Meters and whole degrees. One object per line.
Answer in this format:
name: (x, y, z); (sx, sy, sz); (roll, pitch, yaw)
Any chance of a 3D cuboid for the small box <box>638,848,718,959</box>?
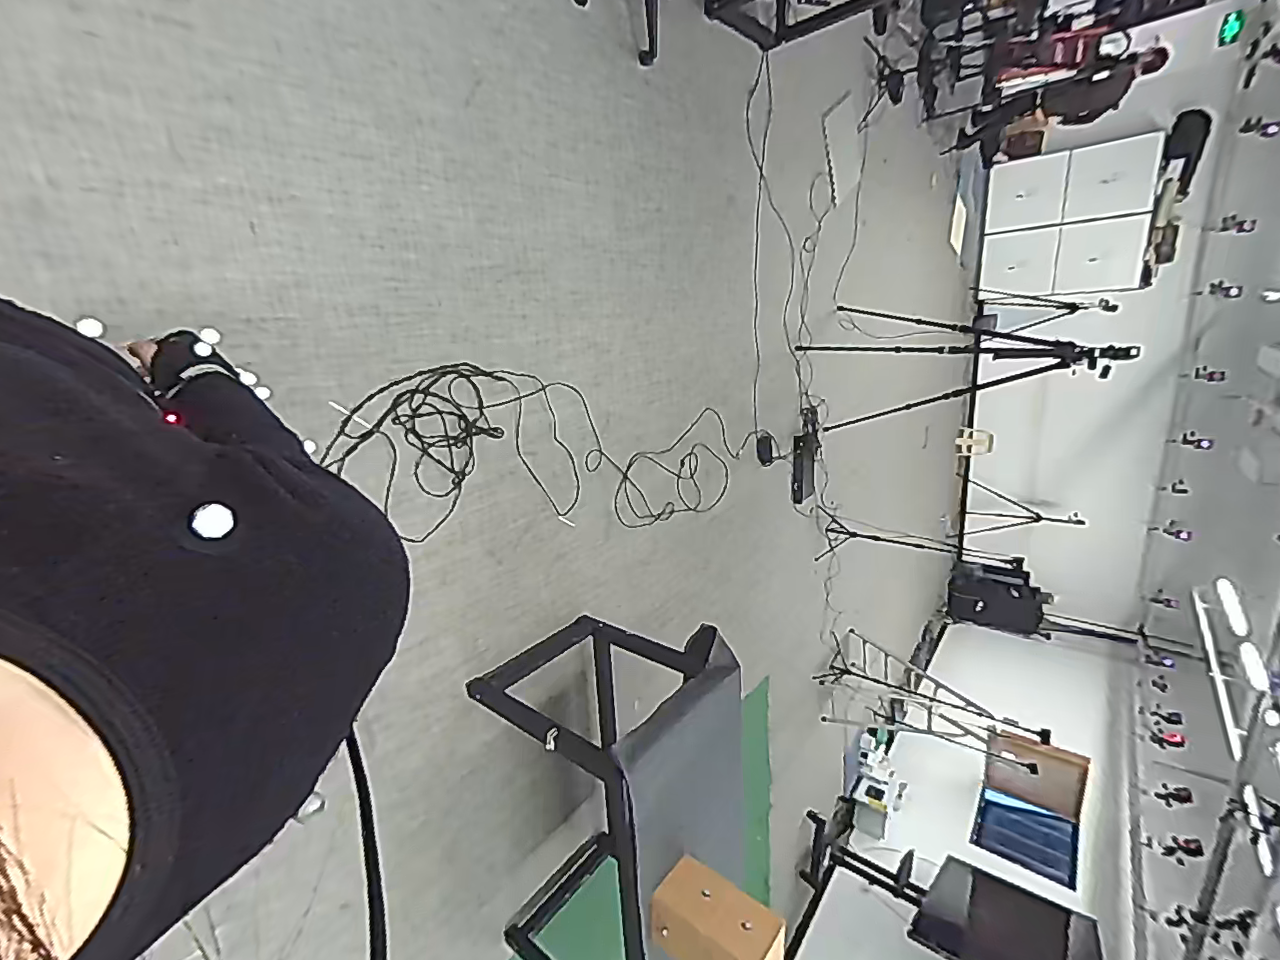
small box: (0.112, 1.235, 1.581); (0.179, 0.176, 0.168); (-14, 108, -50)
